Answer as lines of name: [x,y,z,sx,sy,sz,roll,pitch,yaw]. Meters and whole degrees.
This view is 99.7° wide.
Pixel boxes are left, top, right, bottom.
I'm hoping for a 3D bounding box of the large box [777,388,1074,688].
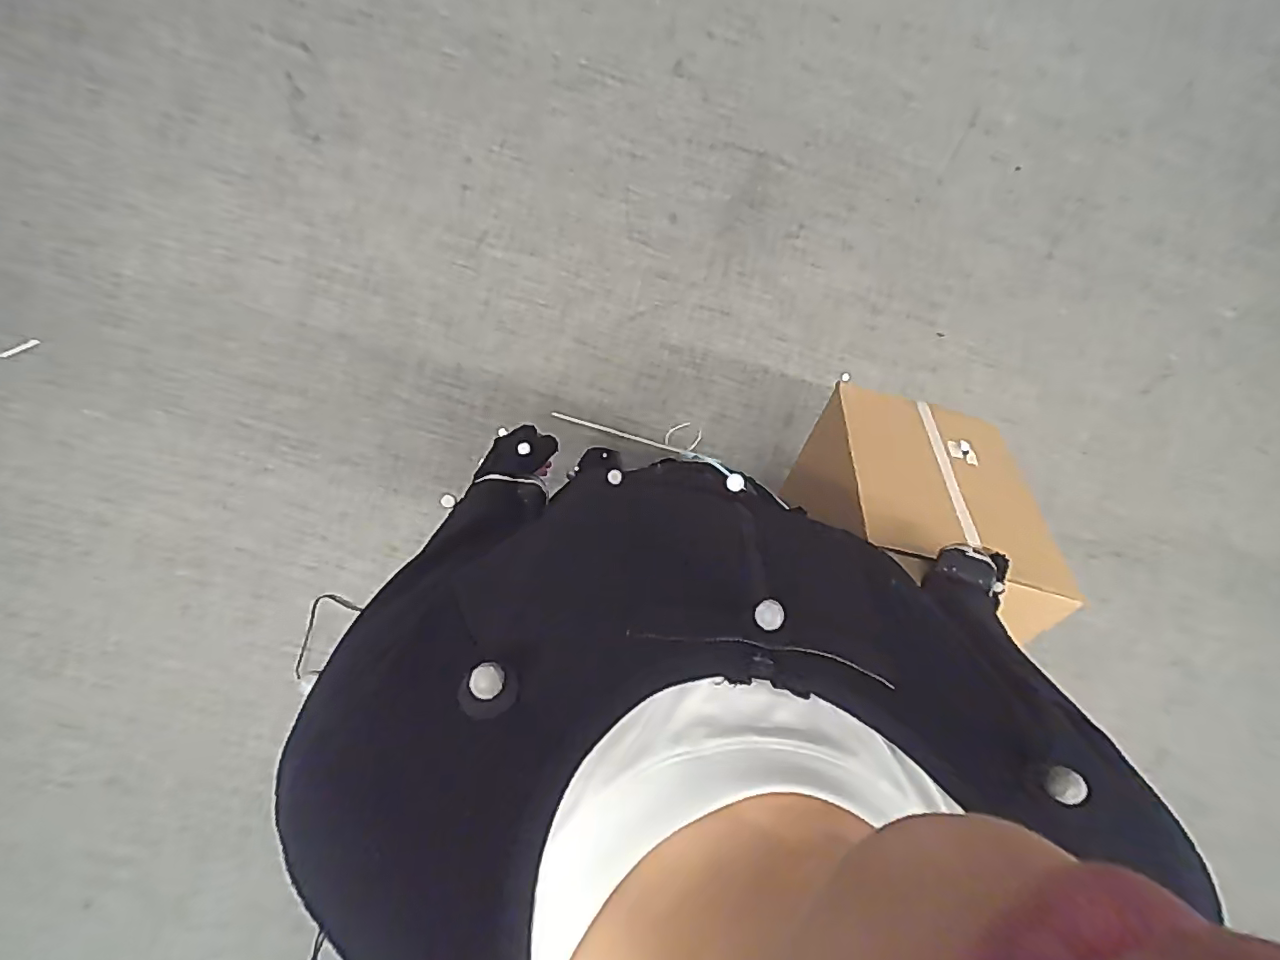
large box: [0.455,0.100,0.984,0.320,0.408,0.320,15,134,-2]
